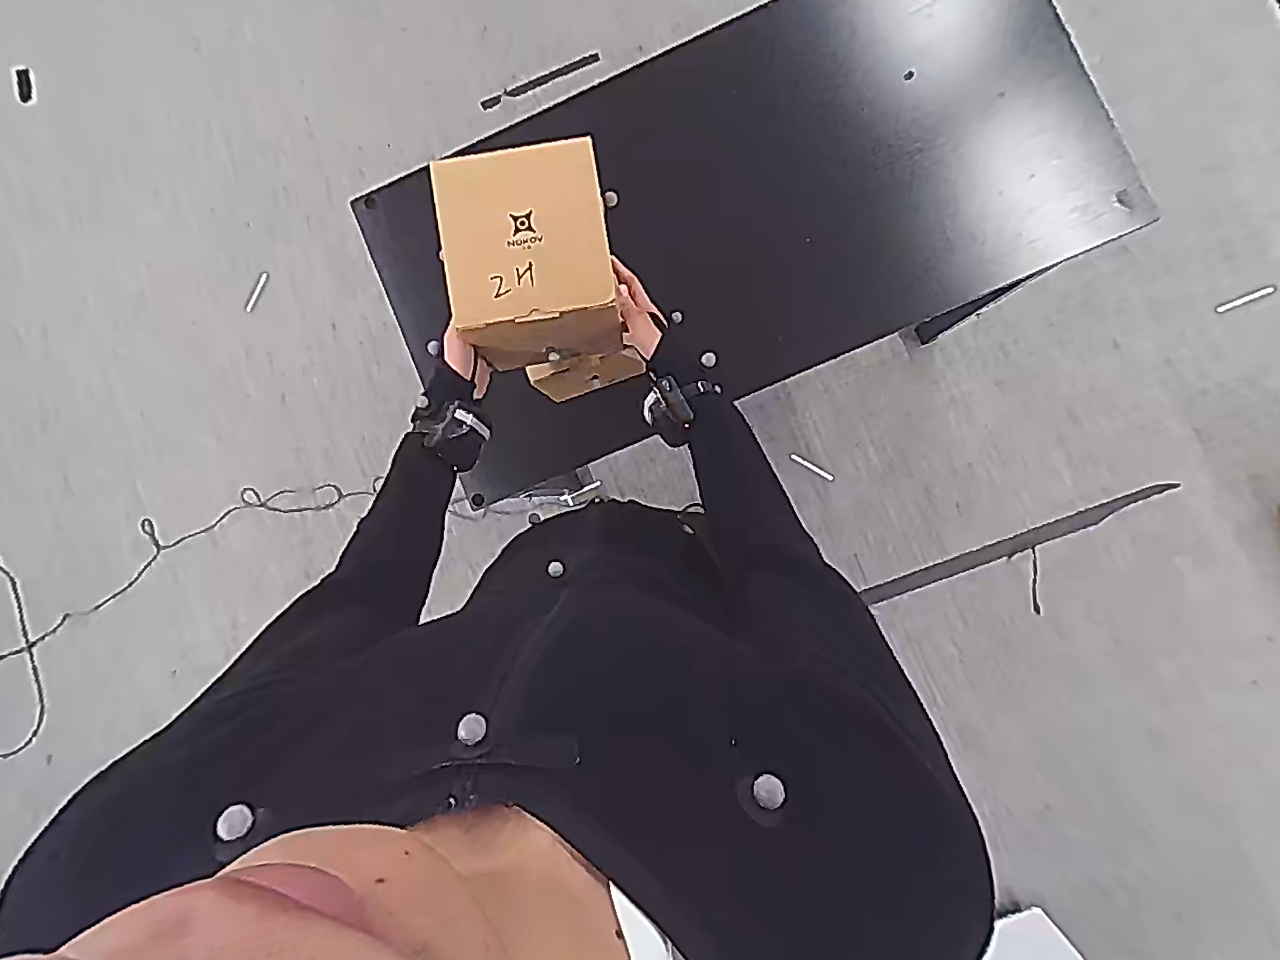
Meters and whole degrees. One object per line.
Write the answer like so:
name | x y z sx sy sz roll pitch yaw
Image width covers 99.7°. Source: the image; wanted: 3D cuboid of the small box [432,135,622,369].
small box | -0.113 -0.240 0.606 0.168 0.176 0.179 -9 87 0

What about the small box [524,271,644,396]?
small box | -0.097 -0.239 0.838 0.168 0.176 0.179 -18 88 4
